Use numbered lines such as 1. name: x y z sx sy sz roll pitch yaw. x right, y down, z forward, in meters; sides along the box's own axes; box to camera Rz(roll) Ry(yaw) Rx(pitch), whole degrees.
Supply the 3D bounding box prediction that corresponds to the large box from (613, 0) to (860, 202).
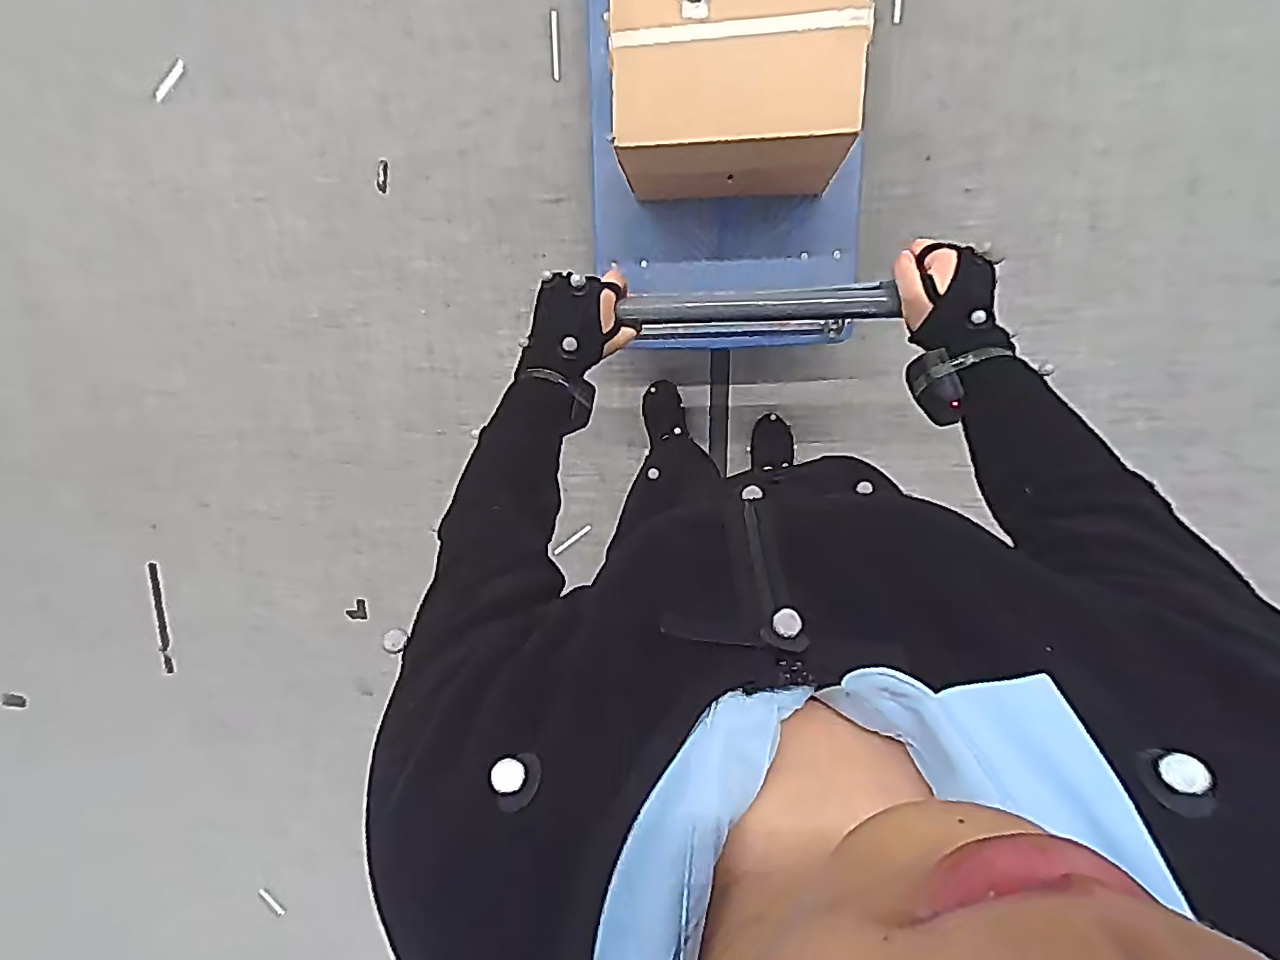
1. large box: 0.175 -0.746 1.026 0.408 0.320 0.320 1 100 8
